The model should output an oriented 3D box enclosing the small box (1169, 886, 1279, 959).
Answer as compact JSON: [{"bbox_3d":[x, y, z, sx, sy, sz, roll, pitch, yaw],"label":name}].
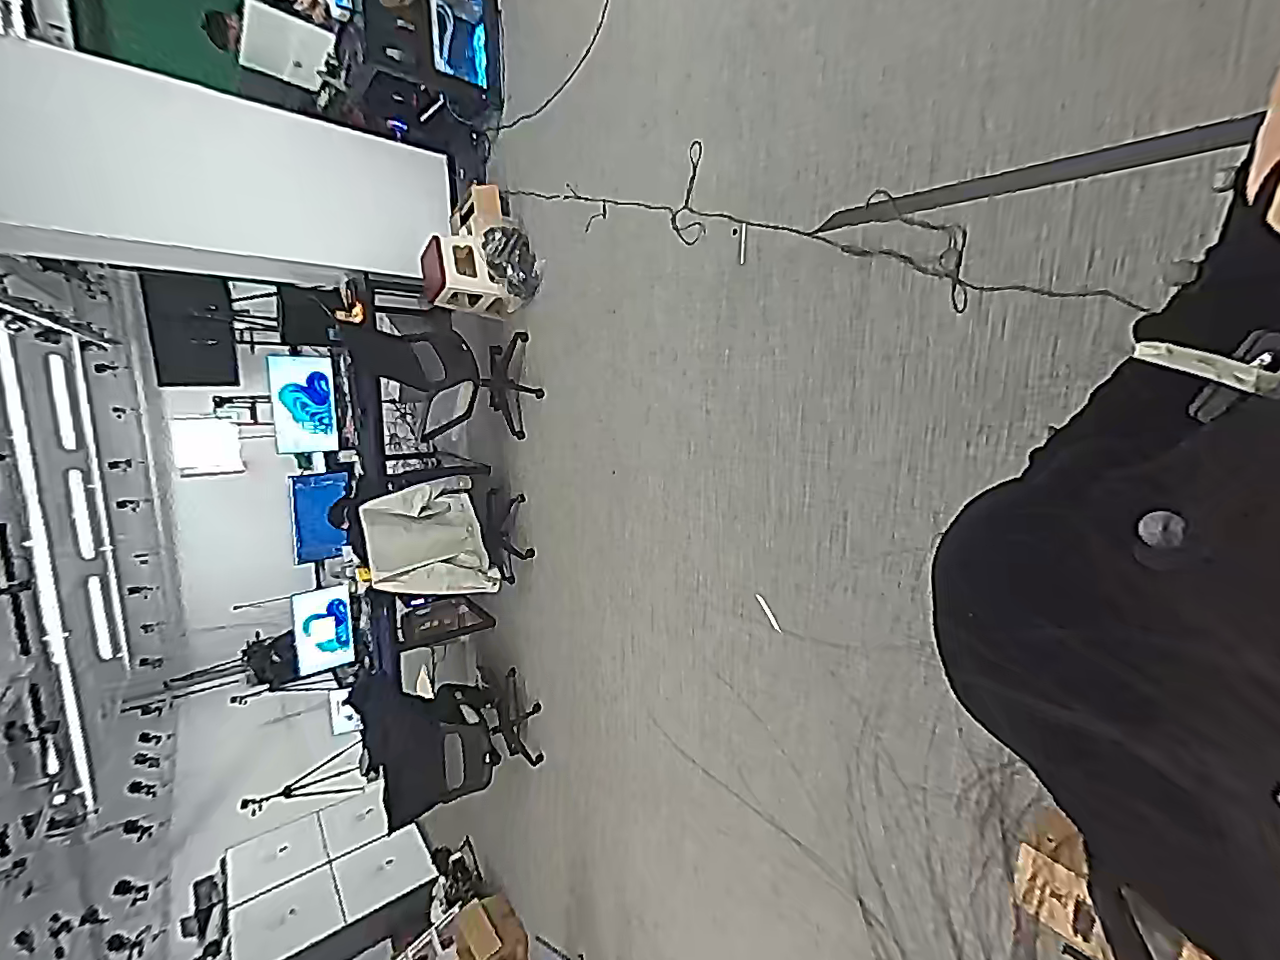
[{"bbox_3d":[1.157,0.959,1.050,0.168,0.176,0.179,17,109,48],"label":"small box"}]
